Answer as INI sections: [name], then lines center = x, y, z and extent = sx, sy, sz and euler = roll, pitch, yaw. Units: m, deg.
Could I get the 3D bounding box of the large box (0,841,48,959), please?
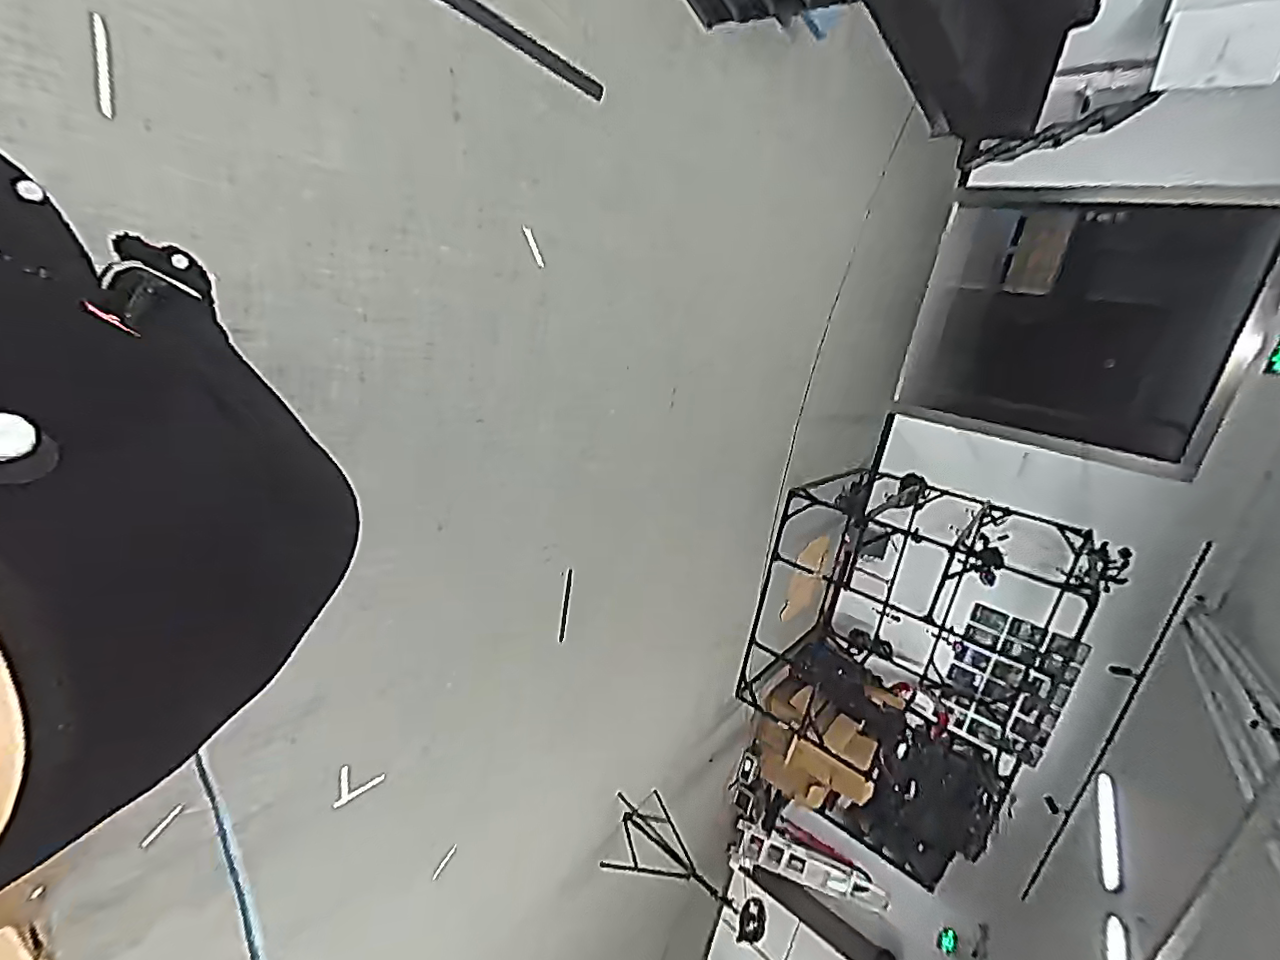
[large box]
center = -1.420, 0.945, 0.984
extent = 0.408, 0.320, 0.320
euler = -21, 124, -47
